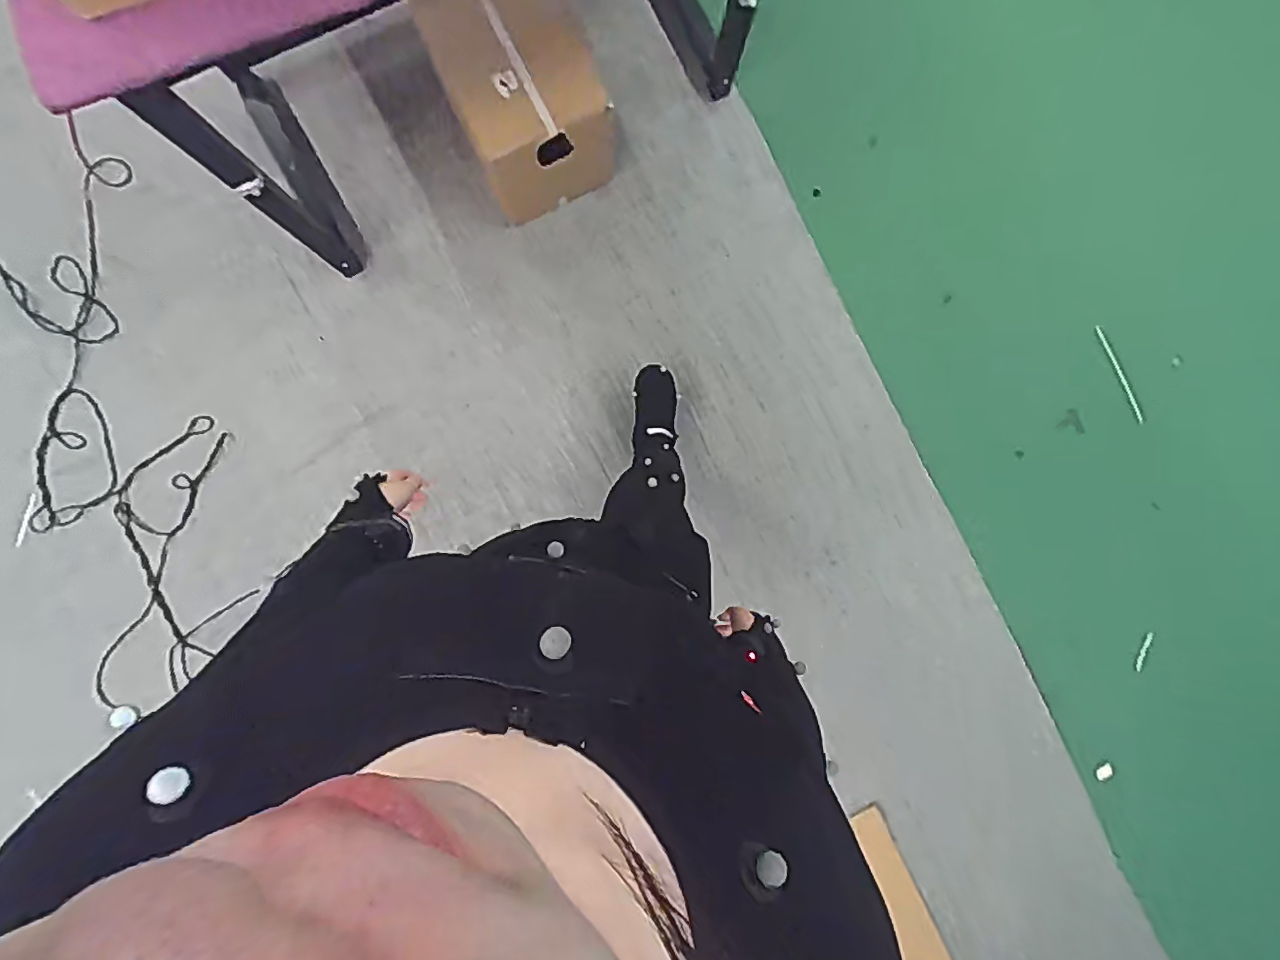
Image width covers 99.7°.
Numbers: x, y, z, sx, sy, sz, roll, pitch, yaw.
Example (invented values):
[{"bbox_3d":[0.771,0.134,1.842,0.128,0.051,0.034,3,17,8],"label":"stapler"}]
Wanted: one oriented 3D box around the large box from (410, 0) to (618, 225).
[{"bbox_3d":[-0.286,-0.935,1.330,0.320,0.320,0.408,-27,93,-3],"label":"large box"}]
